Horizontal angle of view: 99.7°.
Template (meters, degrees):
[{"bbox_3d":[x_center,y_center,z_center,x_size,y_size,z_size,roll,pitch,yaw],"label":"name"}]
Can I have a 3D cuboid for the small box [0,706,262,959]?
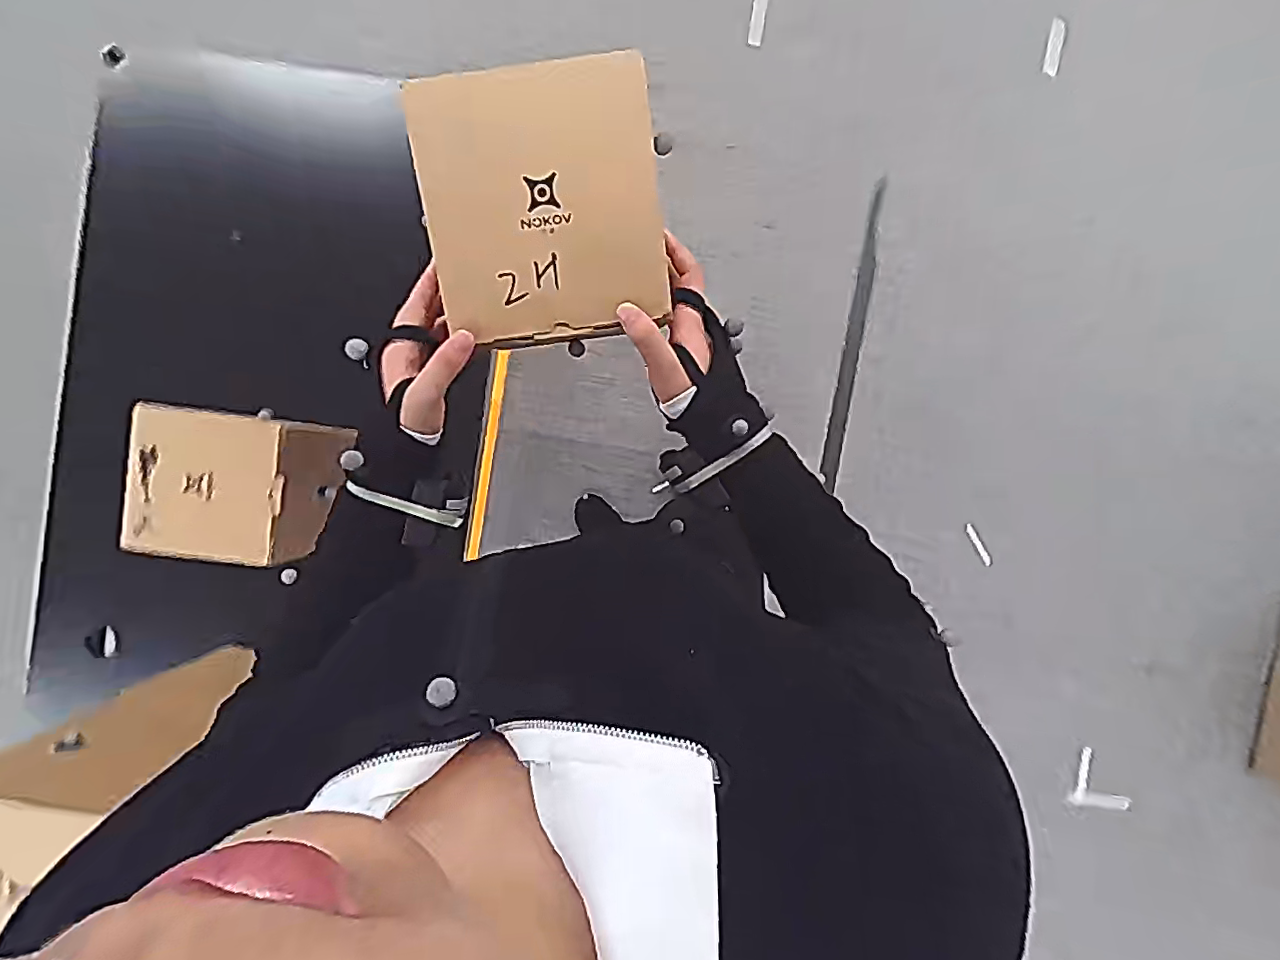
[{"bbox_3d":[-0.528,0.347,0.539,0.179,0.176,0.168,9,93,-1],"label":"small box"}]

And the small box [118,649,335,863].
[{"bbox_3d":[-0.529,0.341,0.701,0.168,0.176,0.179,10,90,0],"label":"small box"}]

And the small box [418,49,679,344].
[{"bbox_3d":[-0.062,-0.213,0.456,0.168,0.176,0.179,-6,103,0],"label":"small box"}]

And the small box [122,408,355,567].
[{"bbox_3d":[-0.497,0.006,0.696,0.179,0.176,0.168,7,91,0],"label":"small box"}]
